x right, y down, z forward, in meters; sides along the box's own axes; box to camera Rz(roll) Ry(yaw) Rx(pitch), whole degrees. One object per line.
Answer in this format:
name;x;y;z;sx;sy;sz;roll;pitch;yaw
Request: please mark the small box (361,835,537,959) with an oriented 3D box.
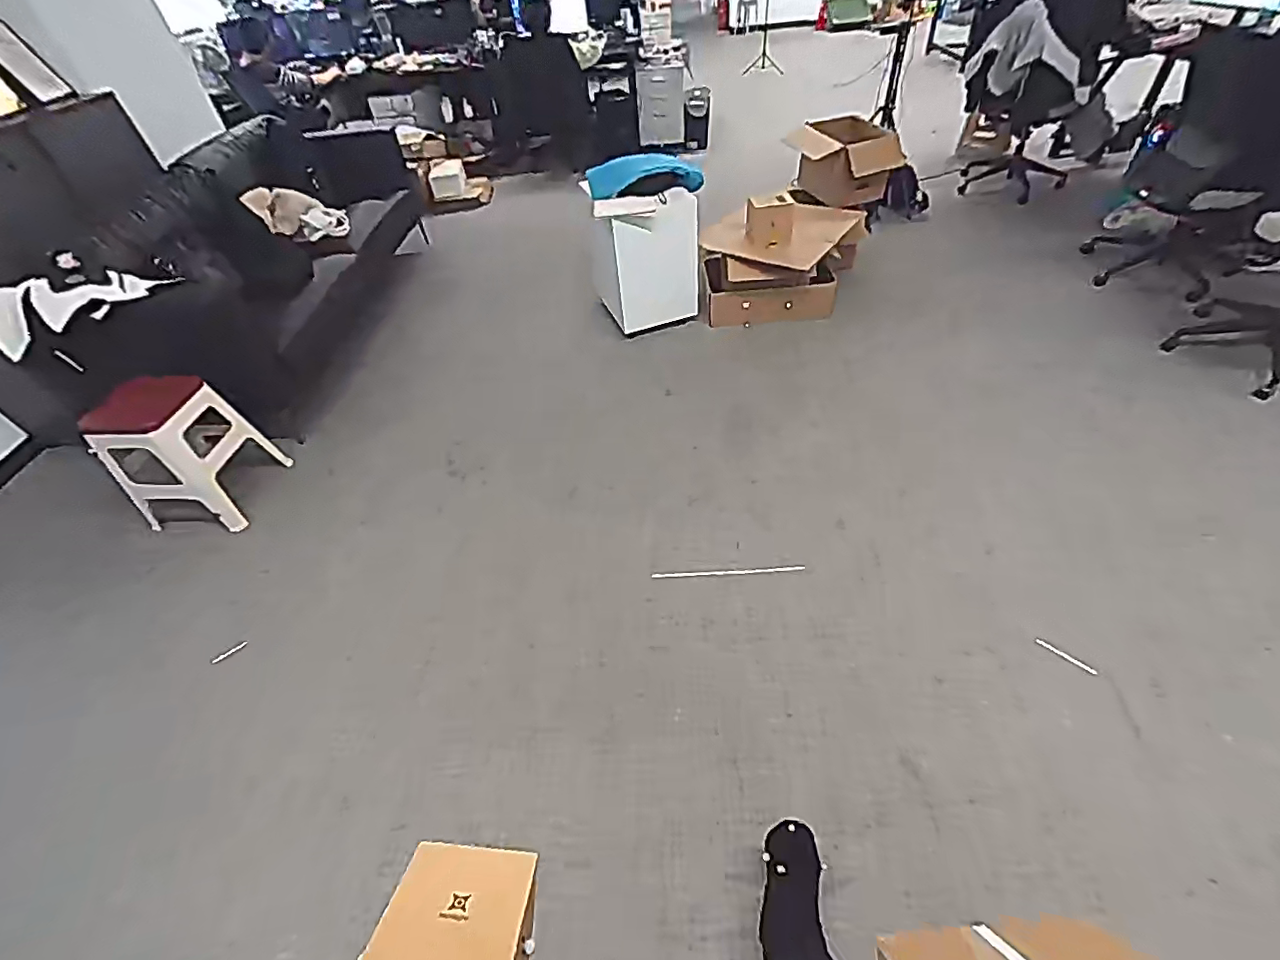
small box;-0.234;0.598;0.683;0.168;0.176;0.179;6;11;-1
